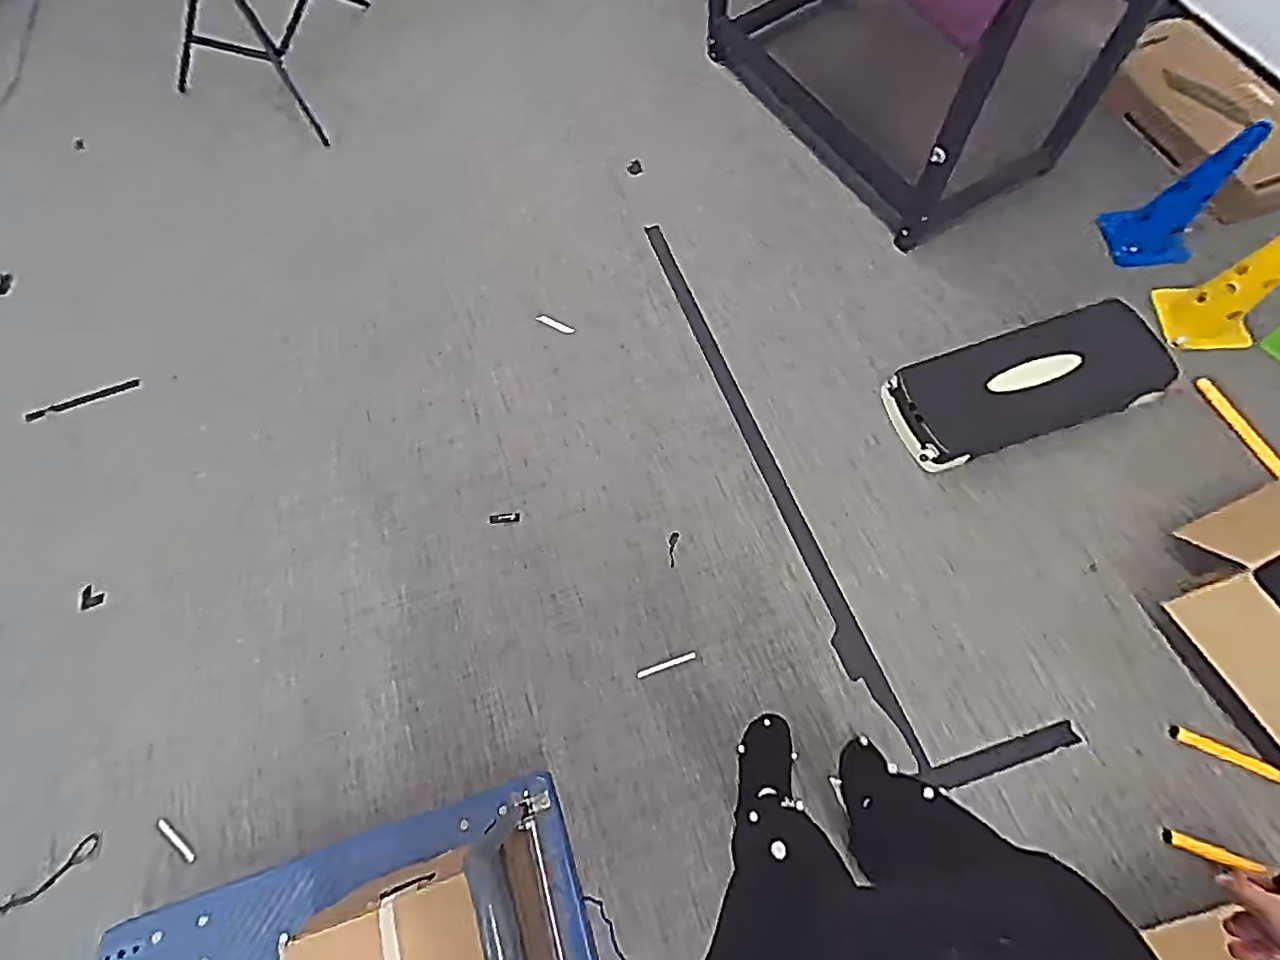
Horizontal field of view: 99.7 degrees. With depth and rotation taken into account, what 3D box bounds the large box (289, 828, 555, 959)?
[{"bbox_3d":[-0.311,0.866,0.879,0.320,0.320,0.408,-16,67,-9],"label":"large box"}]
